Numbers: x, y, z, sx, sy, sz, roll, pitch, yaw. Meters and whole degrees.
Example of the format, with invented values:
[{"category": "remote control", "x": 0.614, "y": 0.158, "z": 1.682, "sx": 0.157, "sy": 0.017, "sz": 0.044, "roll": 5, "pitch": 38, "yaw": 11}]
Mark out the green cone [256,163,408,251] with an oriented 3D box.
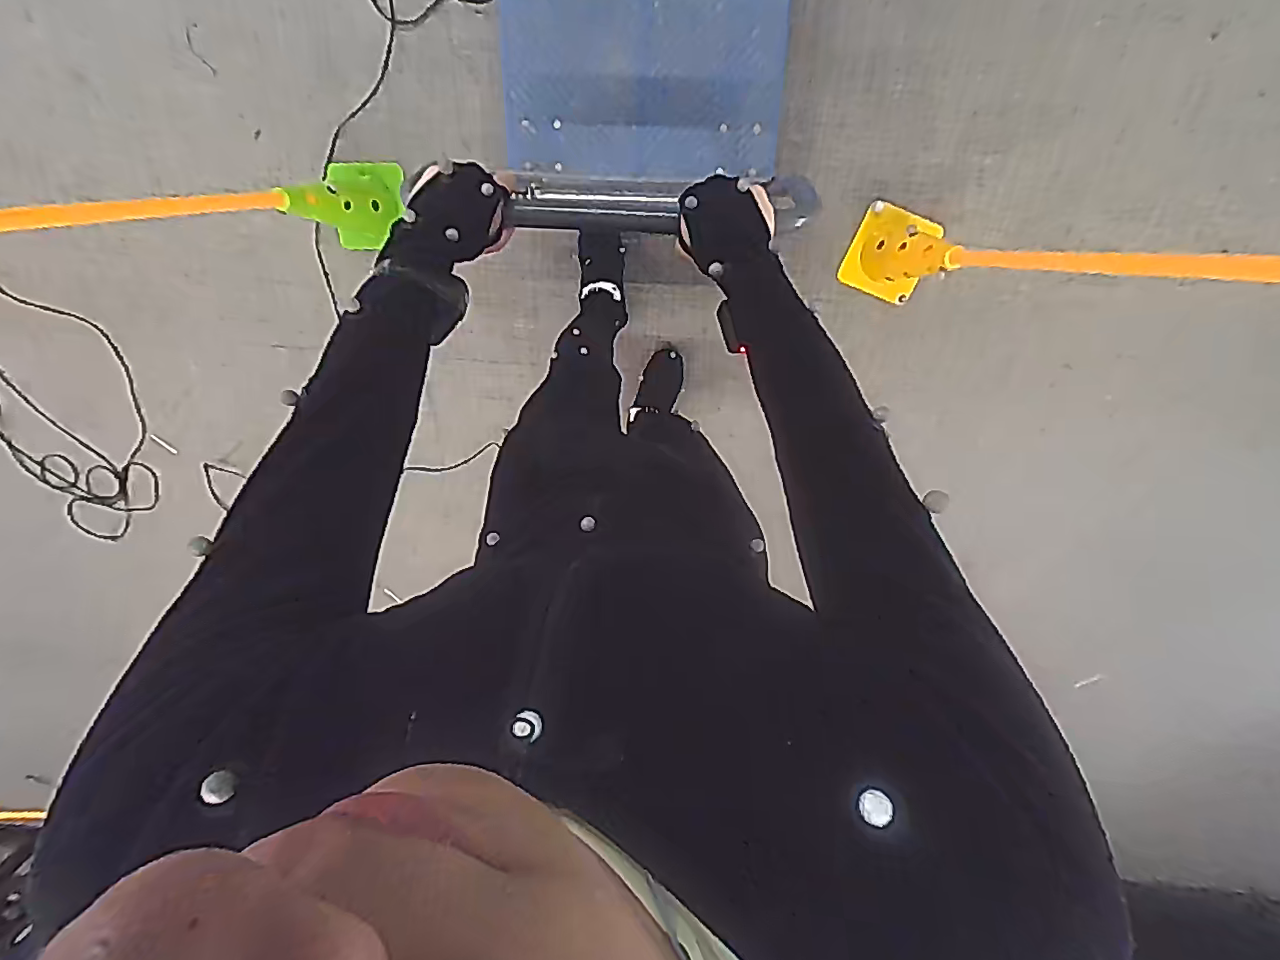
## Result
[{"category": "green cone", "x": -0.717, "y": -0.627, "z": 1.226, "sx": 0.202, "sy": 0.368, "sz": 0.200, "roll": 2, "pitch": 114, "yaw": 5}]
